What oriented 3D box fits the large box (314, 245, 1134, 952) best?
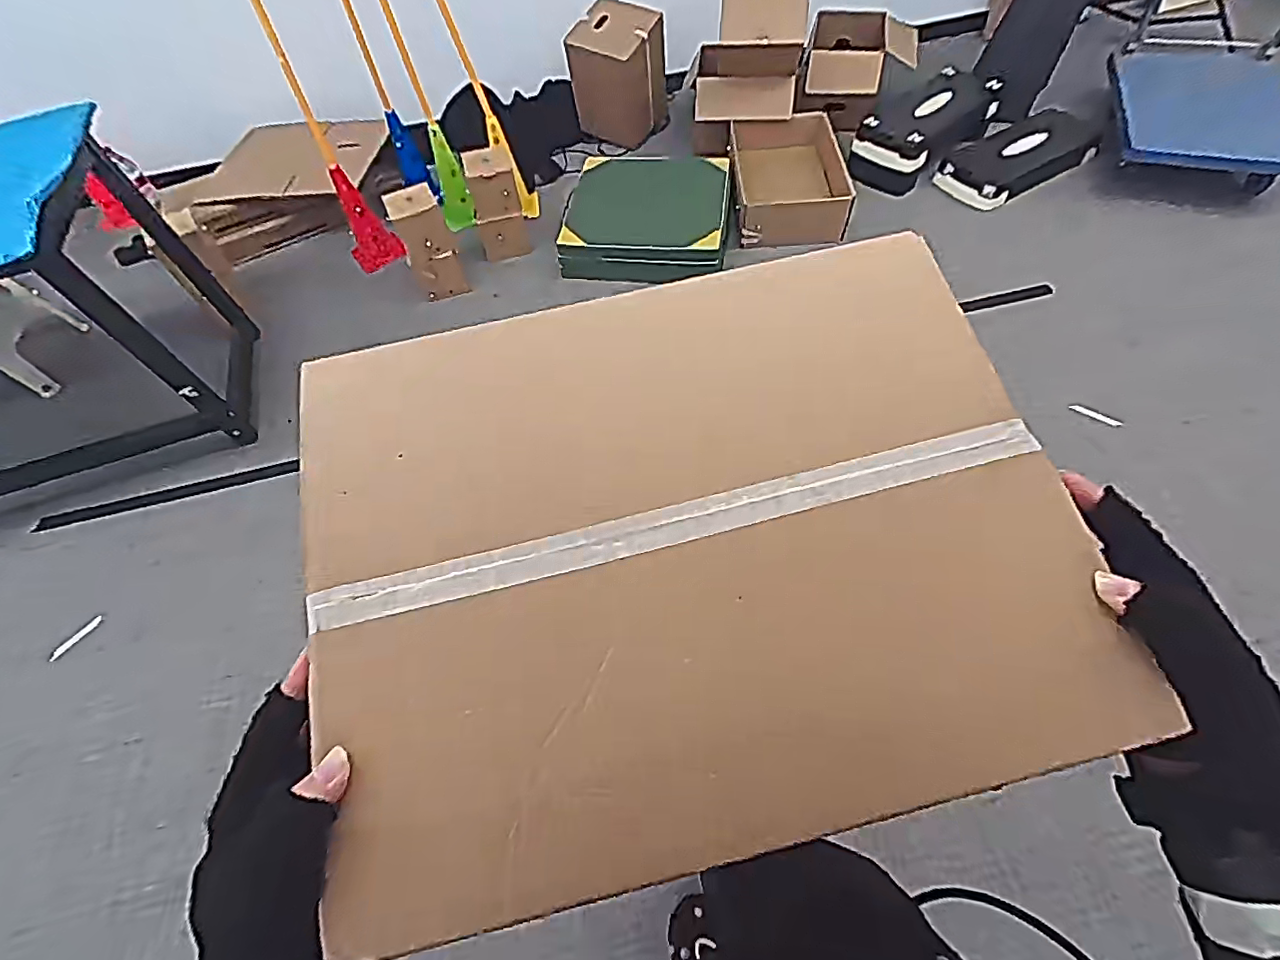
[{"bbox_3d":[0.027,0.076,0.447,0.408,0.320,0.320,-14,70,-3],"label":"large box"}]
